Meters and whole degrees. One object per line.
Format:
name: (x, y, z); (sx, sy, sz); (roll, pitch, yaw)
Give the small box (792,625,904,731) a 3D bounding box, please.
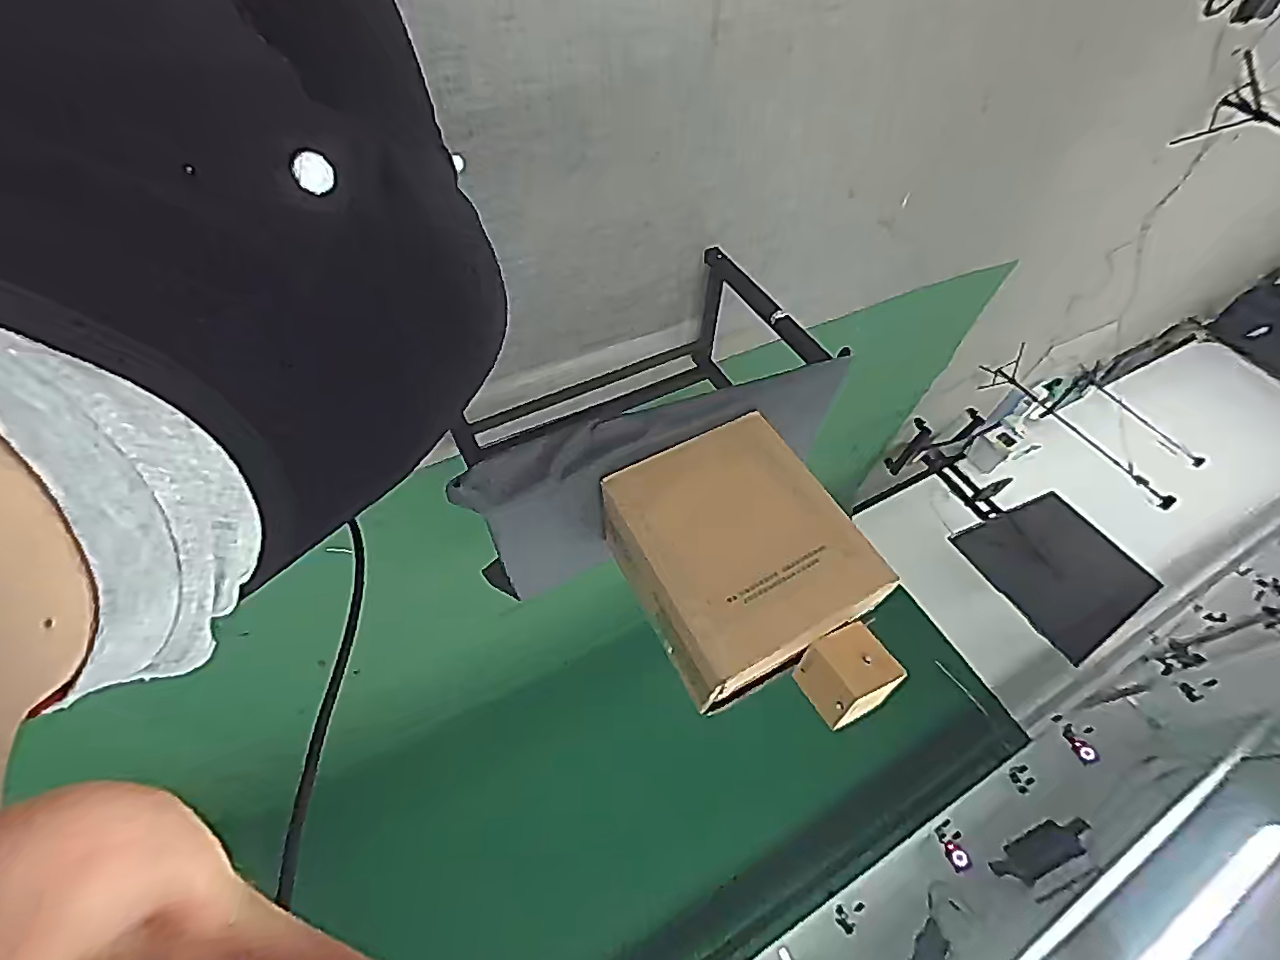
small box: (0.530, 0.503, 1.397); (0.179, 0.176, 0.168); (-15, 136, -25)
